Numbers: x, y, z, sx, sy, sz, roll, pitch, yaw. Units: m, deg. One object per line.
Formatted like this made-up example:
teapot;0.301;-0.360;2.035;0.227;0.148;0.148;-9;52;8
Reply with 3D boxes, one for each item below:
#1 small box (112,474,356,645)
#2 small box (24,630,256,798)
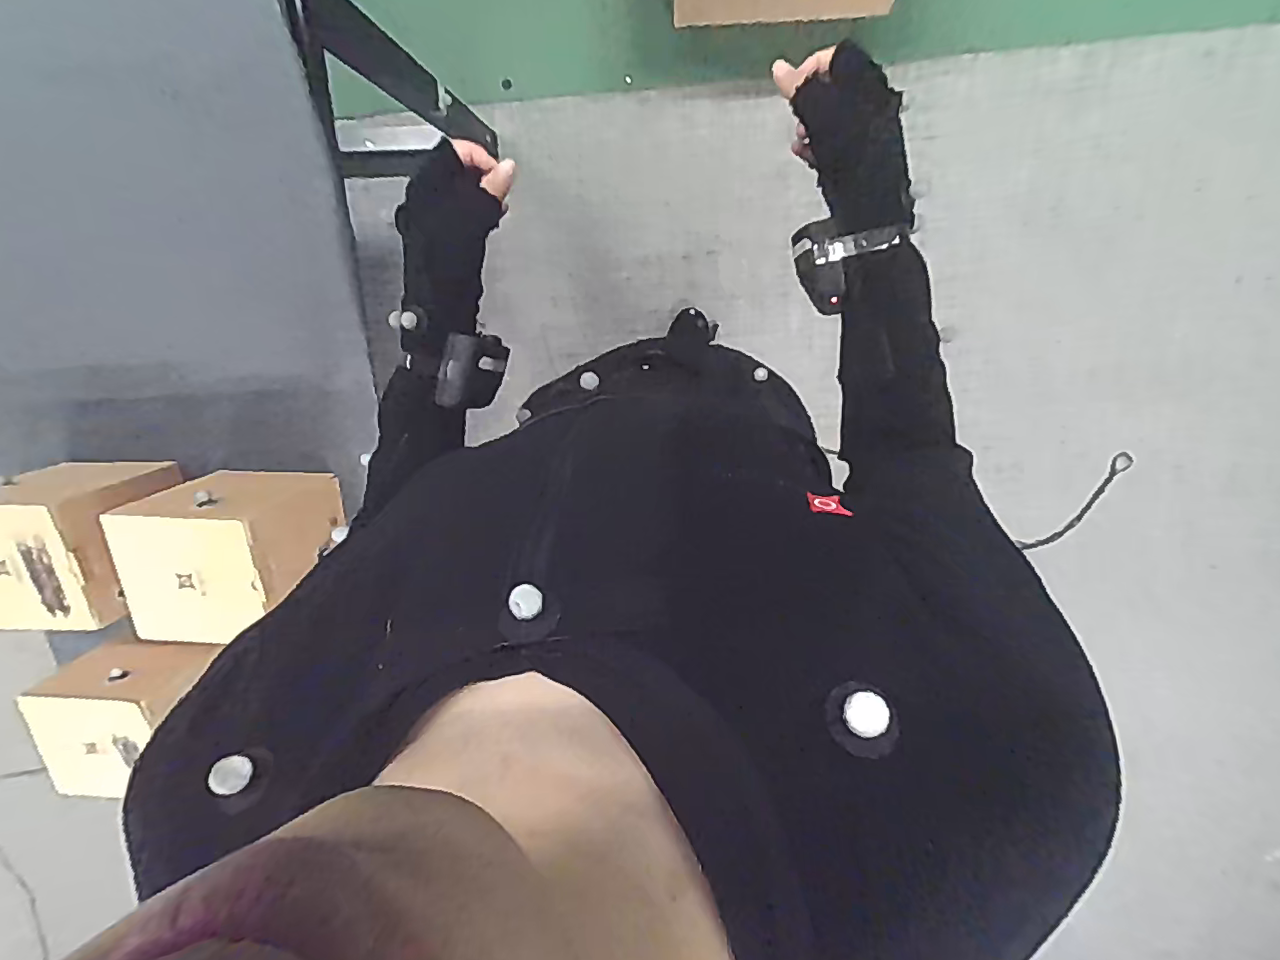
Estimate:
small box;-0.510;0.093;0.707;0.179;0.176;0.168;2;107;4
small box;-0.708;0.332;0.796;0.179;0.176;0.168;1;107;4
